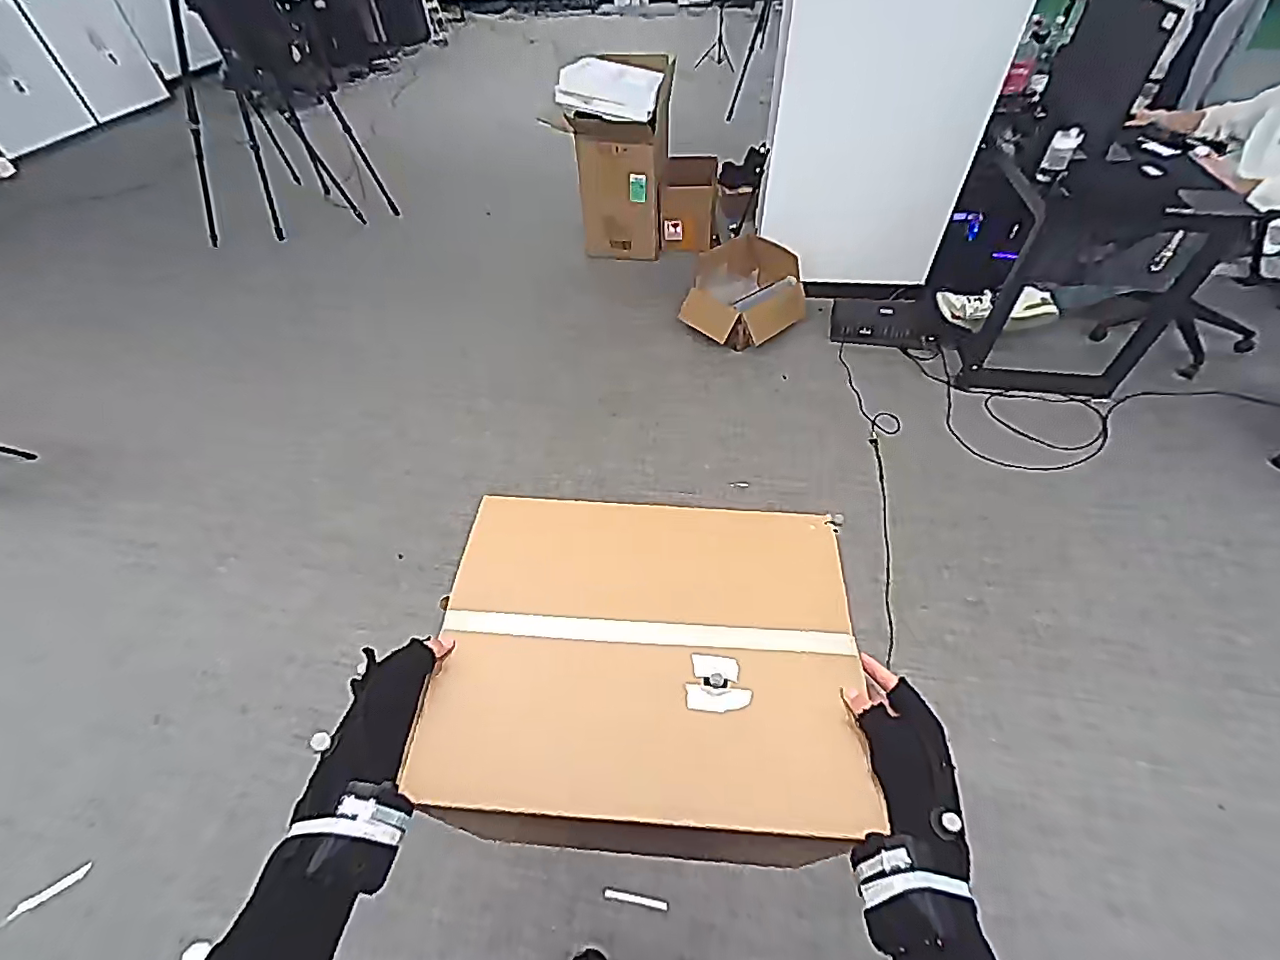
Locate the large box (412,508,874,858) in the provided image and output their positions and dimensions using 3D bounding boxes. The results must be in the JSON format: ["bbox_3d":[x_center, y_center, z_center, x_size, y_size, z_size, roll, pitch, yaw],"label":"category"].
[{"bbox_3d":[0.006,0.255,0.664,0.408,0.320,0.320,4,52,2],"label":"large box"}]
